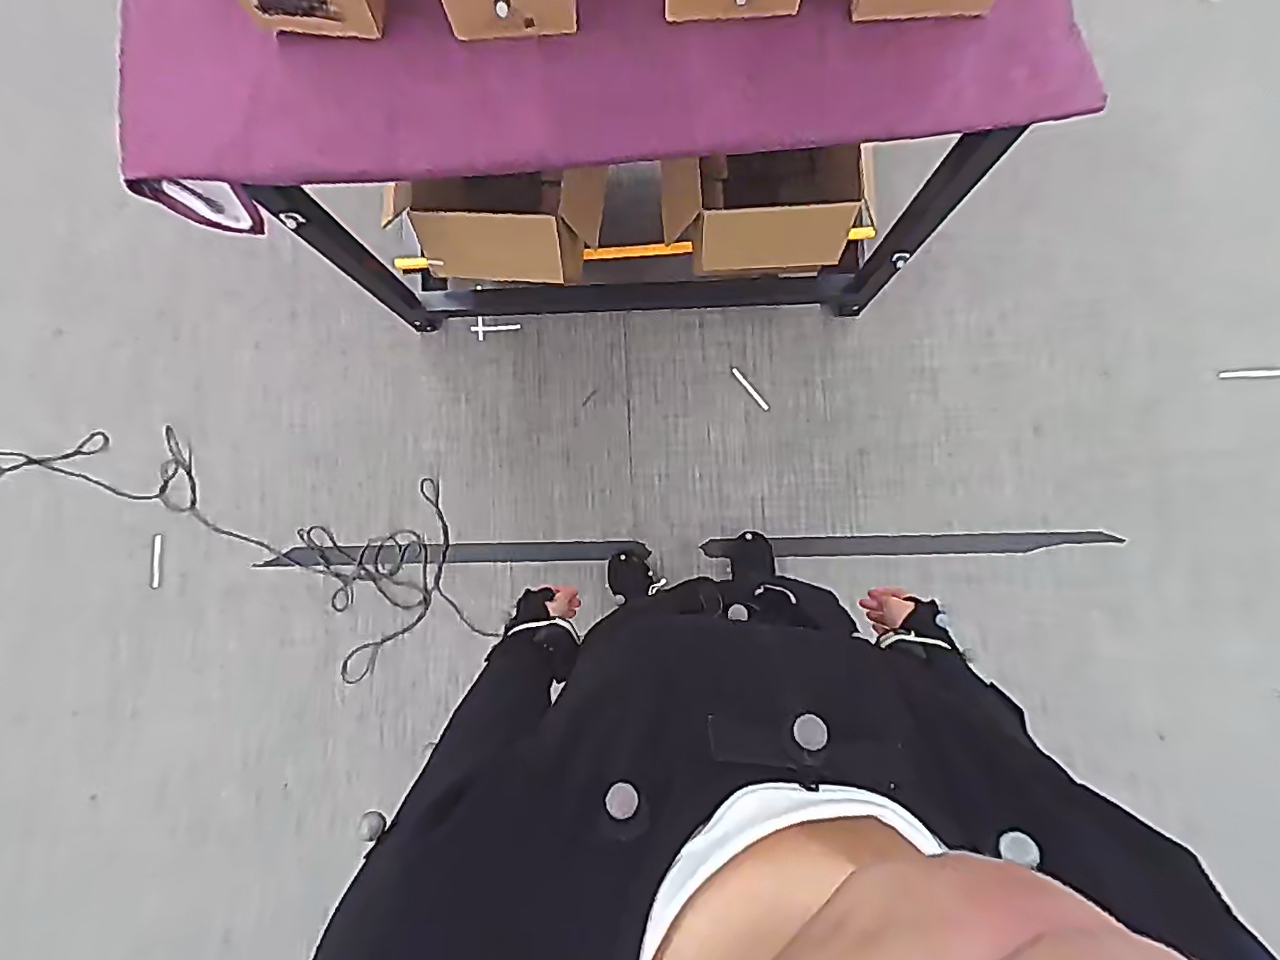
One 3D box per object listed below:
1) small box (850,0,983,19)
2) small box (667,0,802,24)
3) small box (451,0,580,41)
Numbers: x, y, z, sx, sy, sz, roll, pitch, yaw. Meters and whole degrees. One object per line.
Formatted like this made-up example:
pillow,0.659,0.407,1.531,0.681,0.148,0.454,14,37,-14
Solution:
small box,0.367,-0.700,0.646,0.179,0.176,0.168,-1,83,2
small box,0.121,-0.707,0.654,0.179,0.176,0.168,-1,84,2
small box,-0.167,-0.695,0.666,0.168,0.176,0.179,-2,85,2
